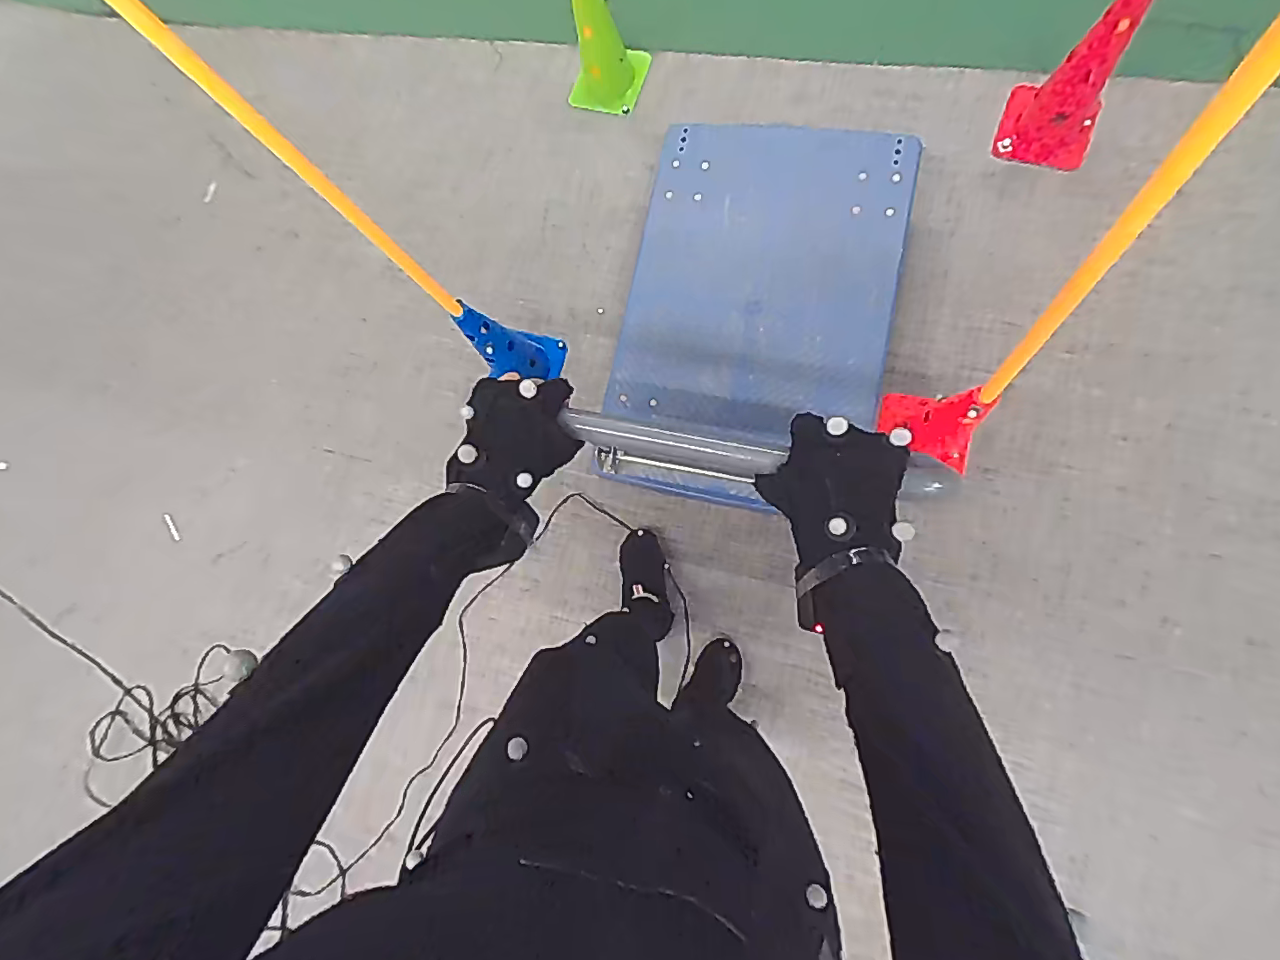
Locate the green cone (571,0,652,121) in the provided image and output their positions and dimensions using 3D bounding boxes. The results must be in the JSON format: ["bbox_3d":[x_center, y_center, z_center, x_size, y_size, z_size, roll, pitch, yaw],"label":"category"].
[{"bbox_3d":[-0.115,-1.163,1.396,0.202,0.368,0.200,19,85,14],"label":"green cone"}]

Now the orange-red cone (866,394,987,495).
[{"bbox_3d":[0.613,-0.102,1.103,0.199,0.360,0.198,14,84,14],"label":"orange-red cone"}]
